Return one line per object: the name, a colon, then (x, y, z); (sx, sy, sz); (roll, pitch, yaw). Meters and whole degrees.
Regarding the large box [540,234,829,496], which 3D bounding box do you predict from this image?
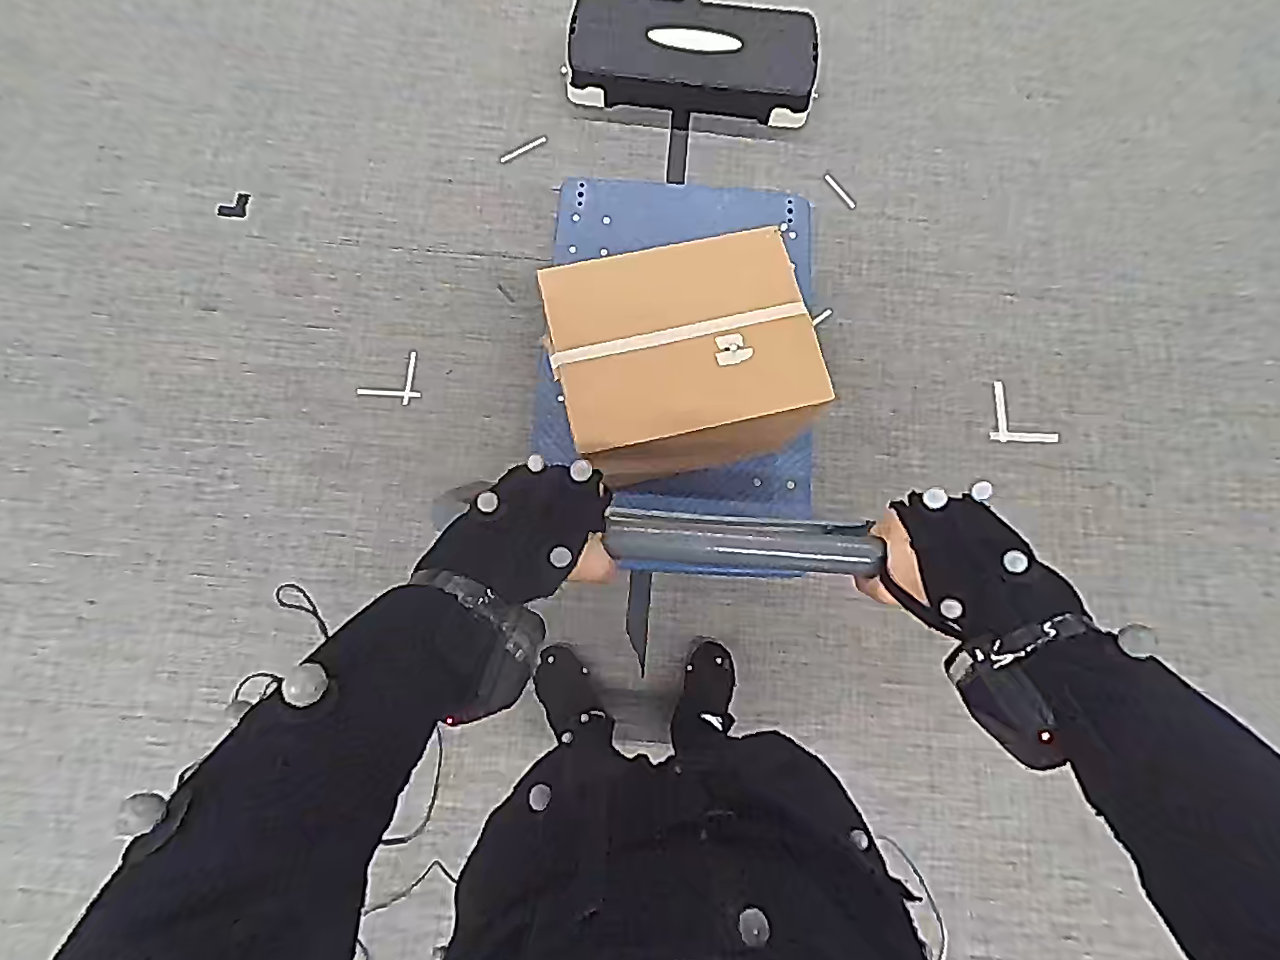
large box: (0.059, -0.187, 0.993); (0.408, 0.320, 0.320); (-13, 79, -6)
